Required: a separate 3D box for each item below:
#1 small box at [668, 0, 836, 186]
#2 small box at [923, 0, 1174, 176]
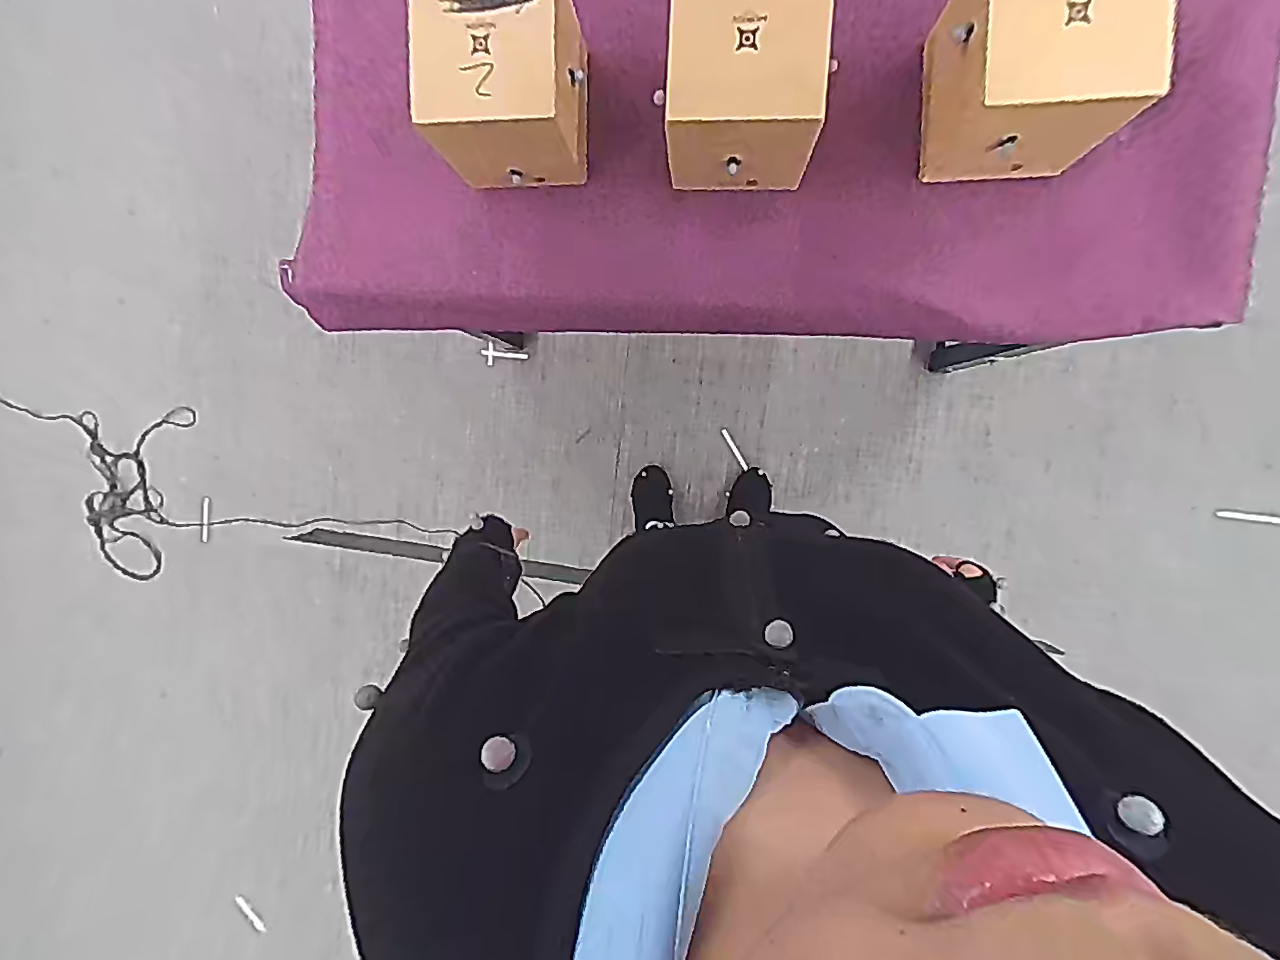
[{"bbox_3d":[0.125,-0.469,0.634,0.168,0.176,0.179,4,95,5],"label":"small box"},{"bbox_3d":[0.432,-0.461,0.600,0.168,0.176,0.179,1,93,7],"label":"small box"}]
